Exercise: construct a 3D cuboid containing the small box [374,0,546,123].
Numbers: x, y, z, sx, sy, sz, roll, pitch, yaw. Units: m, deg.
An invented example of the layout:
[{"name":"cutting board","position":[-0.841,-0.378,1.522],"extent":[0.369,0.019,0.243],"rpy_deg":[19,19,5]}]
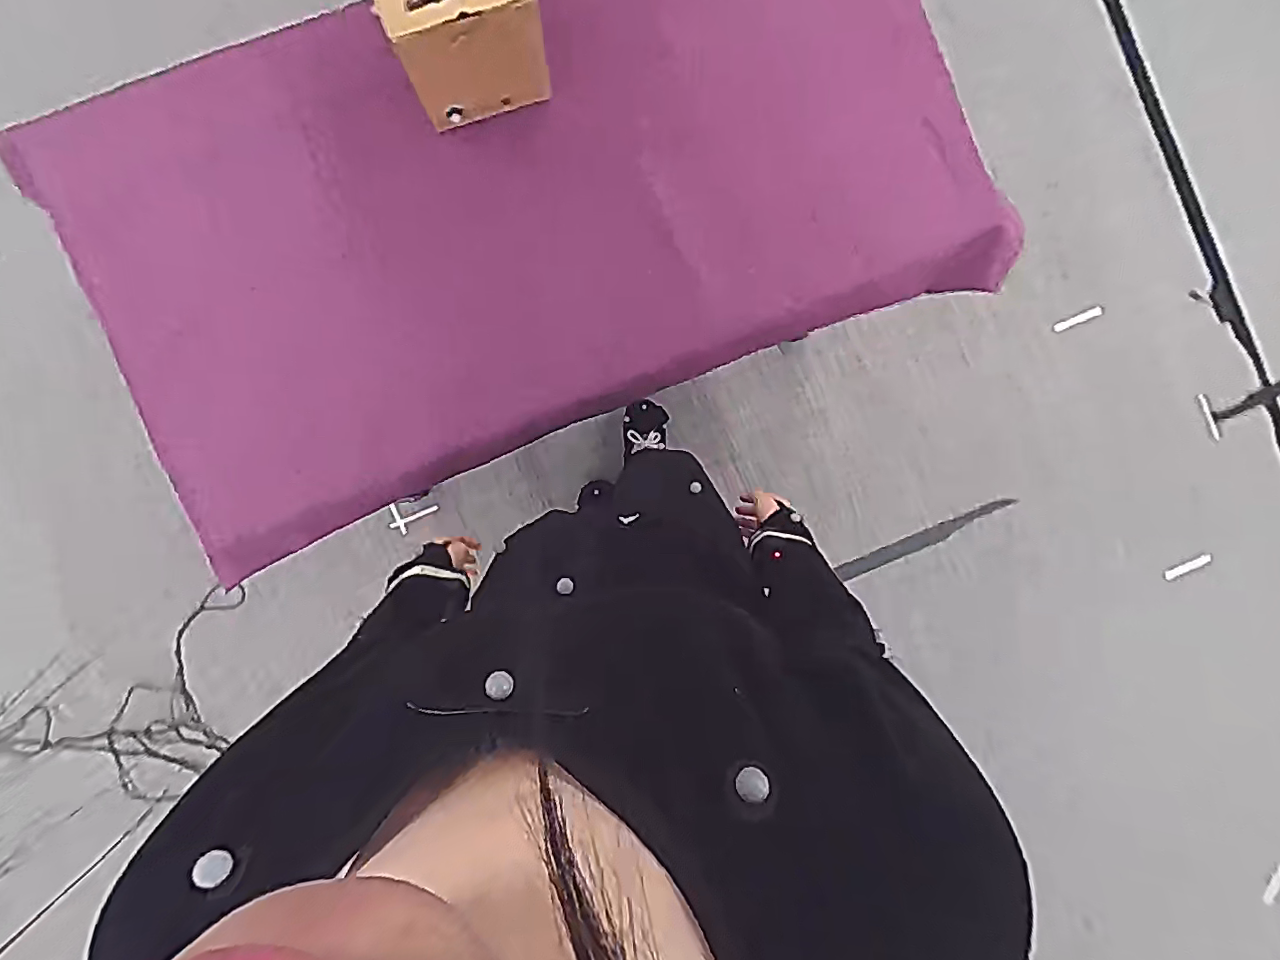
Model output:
[{"name":"small box","position":[-0.224,-0.576,0.659],"extent":[0.168,0.176,0.179],"rpy_deg":[-19,93,-3]}]
